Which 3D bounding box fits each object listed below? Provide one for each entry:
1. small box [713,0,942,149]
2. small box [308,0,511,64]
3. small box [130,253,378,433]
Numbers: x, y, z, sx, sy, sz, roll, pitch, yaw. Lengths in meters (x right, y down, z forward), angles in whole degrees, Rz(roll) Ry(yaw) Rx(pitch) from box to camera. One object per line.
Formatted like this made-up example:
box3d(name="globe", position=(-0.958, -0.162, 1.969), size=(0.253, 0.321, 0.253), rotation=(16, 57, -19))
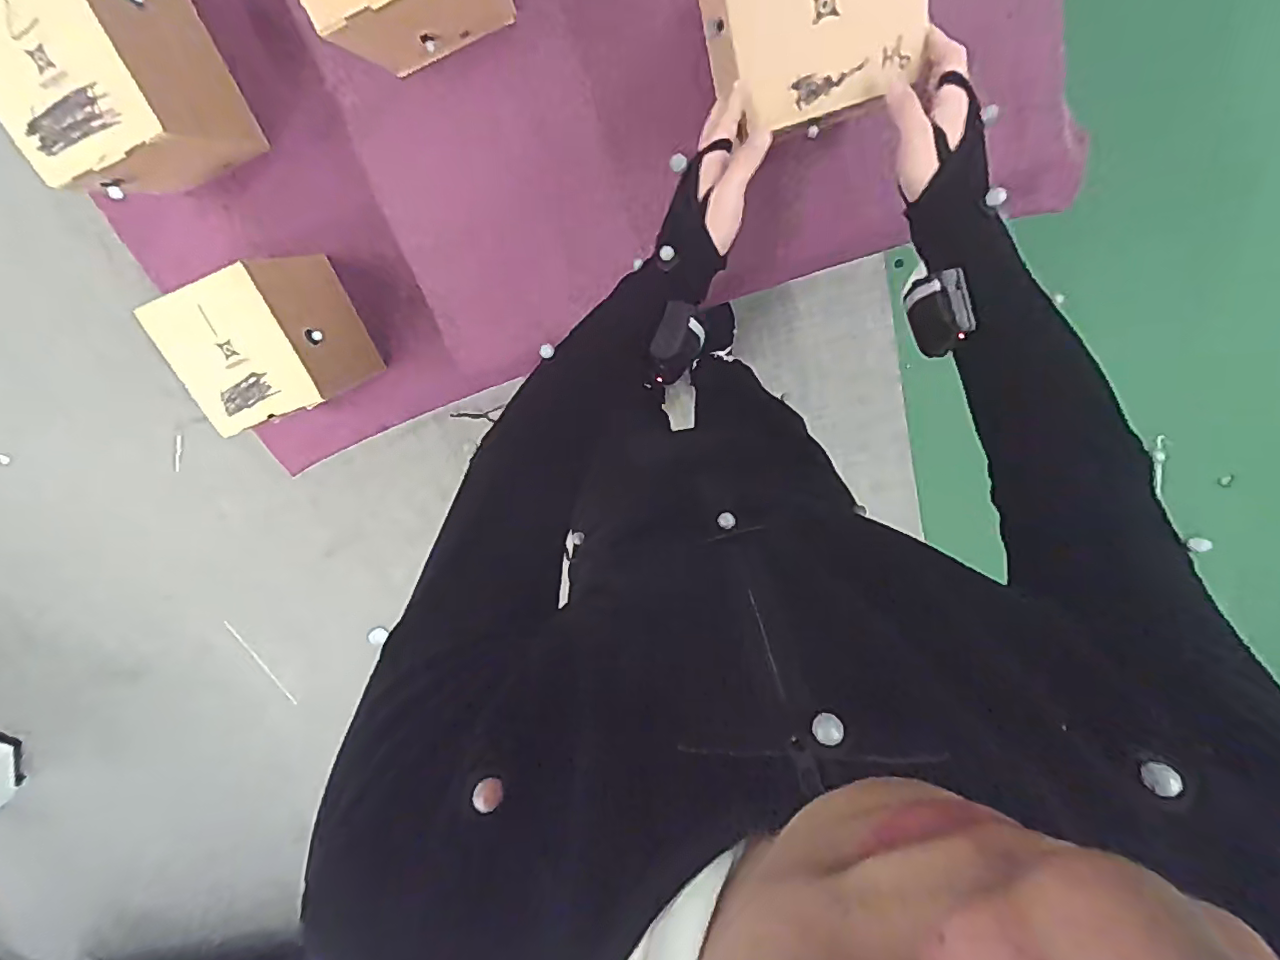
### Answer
box3d(name="small box", position=(0.169, -0.449, 0.526), size=(0.168, 0.176, 0.179), rotation=(-13, 116, 8))
box3d(name="small box", position=(-0.252, -0.561, 0.536), size=(0.168, 0.176, 0.179), rotation=(-17, 115, 11))
box3d(name="small box", position=(-0.494, -0.189, 0.727), size=(0.168, 0.176, 0.179), rotation=(-17, 113, 11))
